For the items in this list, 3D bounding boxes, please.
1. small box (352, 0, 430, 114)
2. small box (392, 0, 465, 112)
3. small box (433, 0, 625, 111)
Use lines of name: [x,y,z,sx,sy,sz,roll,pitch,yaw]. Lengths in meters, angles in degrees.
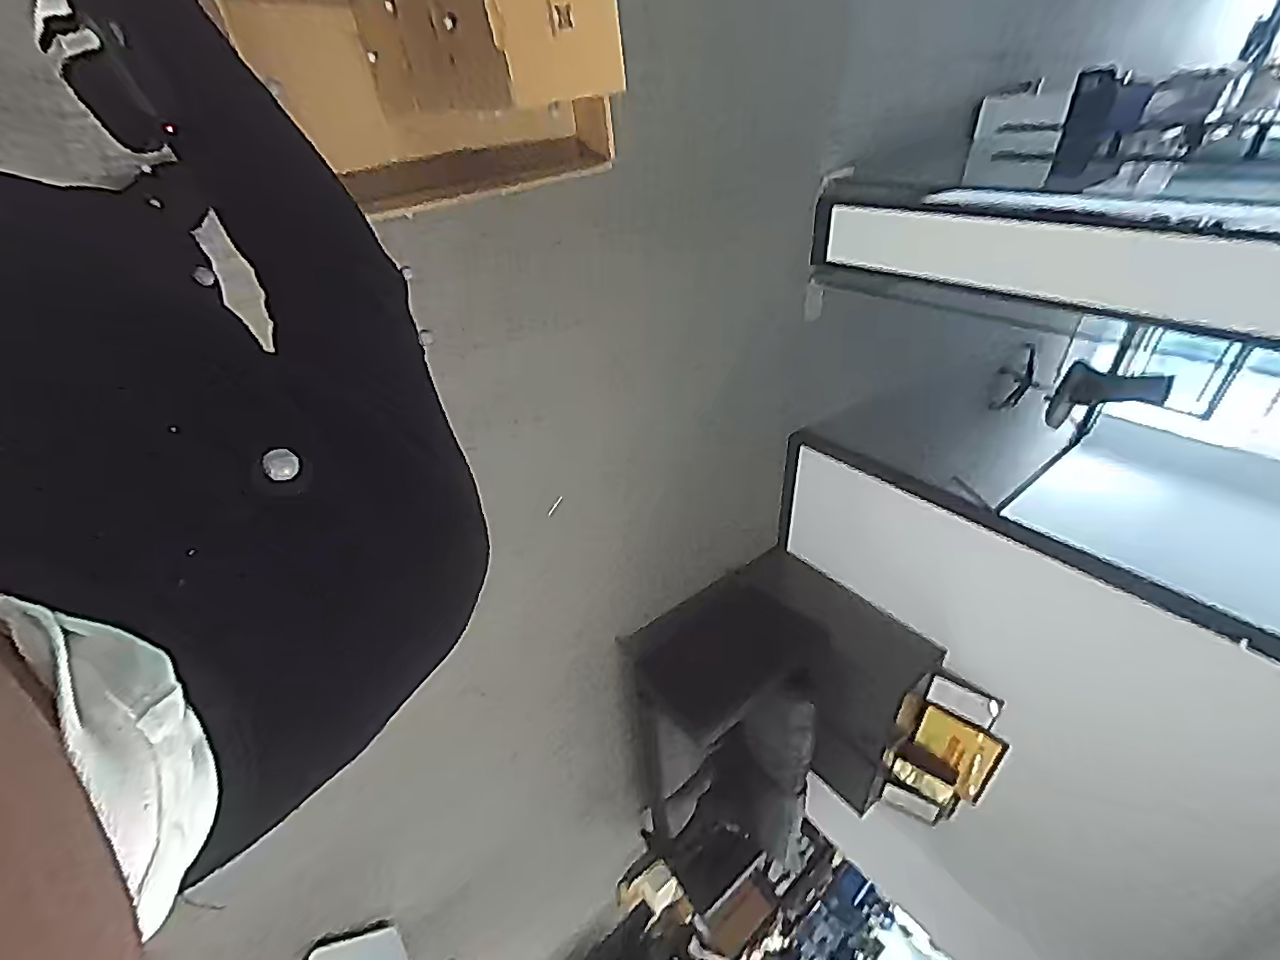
small box: [-0.349,-0.726,0.914,0.179,0.176,0.168,-29,131,-29]
small box: [-0.245,-0.660,0.807,0.179,0.176,0.168,-32,133,-28]
small box: [-0.145,-0.589,0.701,0.179,0.176,0.168,-31,133,-27]
